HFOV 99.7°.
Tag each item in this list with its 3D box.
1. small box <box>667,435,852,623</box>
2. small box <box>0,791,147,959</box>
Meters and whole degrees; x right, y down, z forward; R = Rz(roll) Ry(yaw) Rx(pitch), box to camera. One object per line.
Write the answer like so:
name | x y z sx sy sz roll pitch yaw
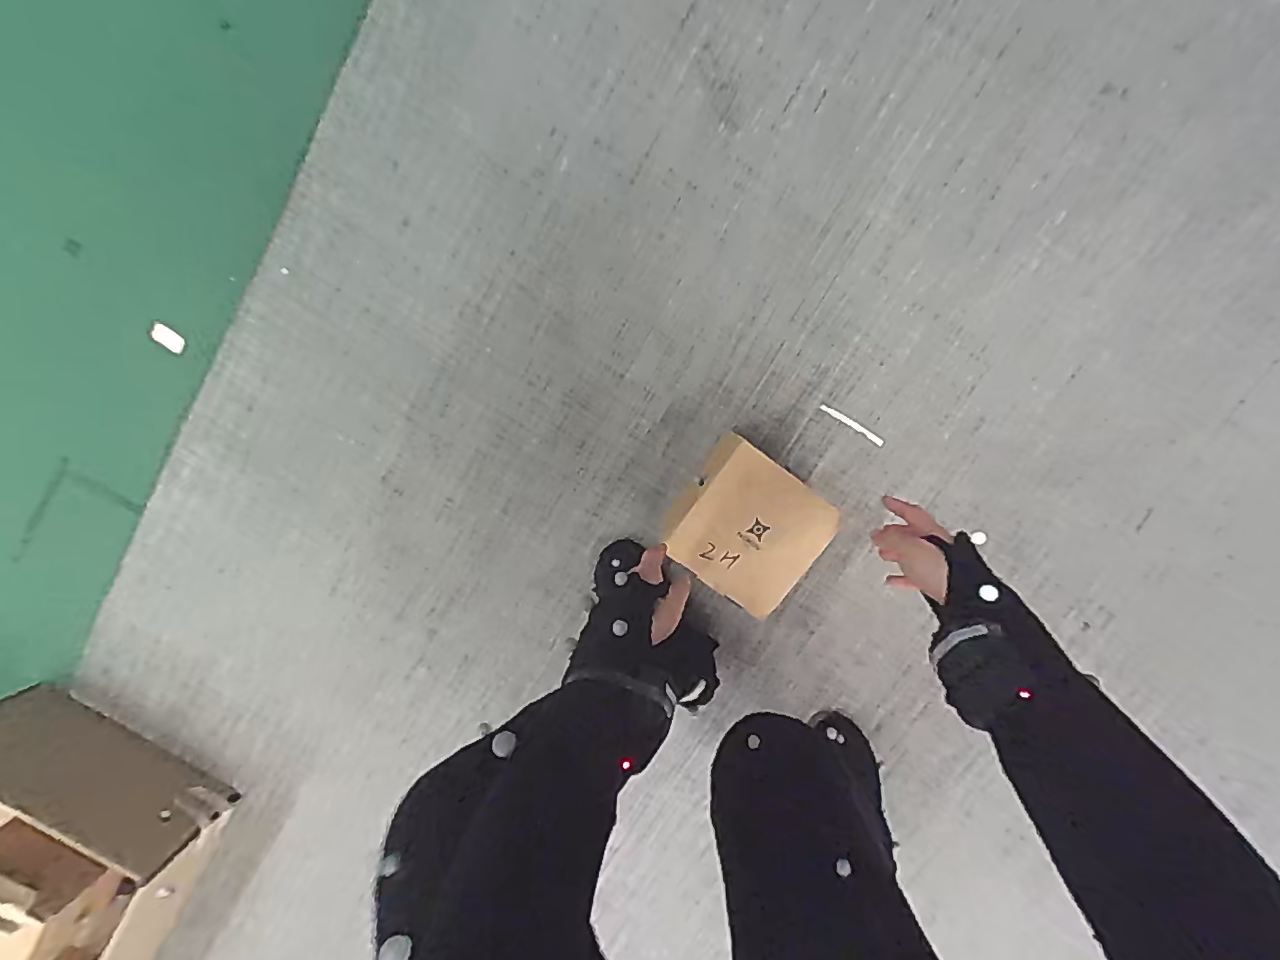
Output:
small box | 0.148 0.053 0.743 0.168 0.176 0.179 36 100 -3
small box | -0.928 0.631 0.834 0.168 0.176 0.179 32 101 -4
